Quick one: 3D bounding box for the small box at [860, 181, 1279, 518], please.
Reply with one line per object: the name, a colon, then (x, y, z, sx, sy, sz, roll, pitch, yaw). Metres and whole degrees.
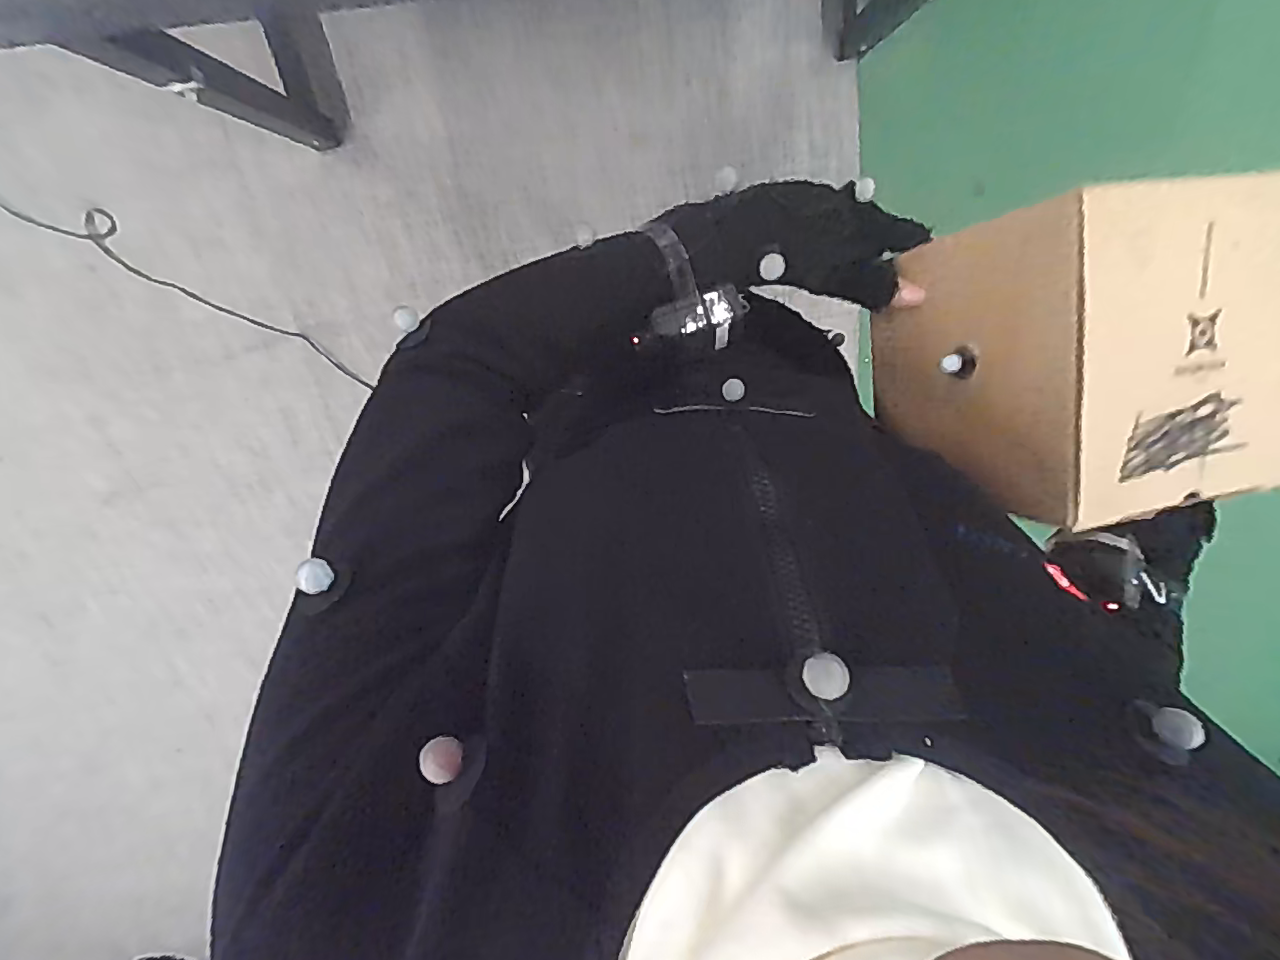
small box: (0.277, -0.084, 0.380, 0.168, 0.176, 0.179, -9, 99, -13)
